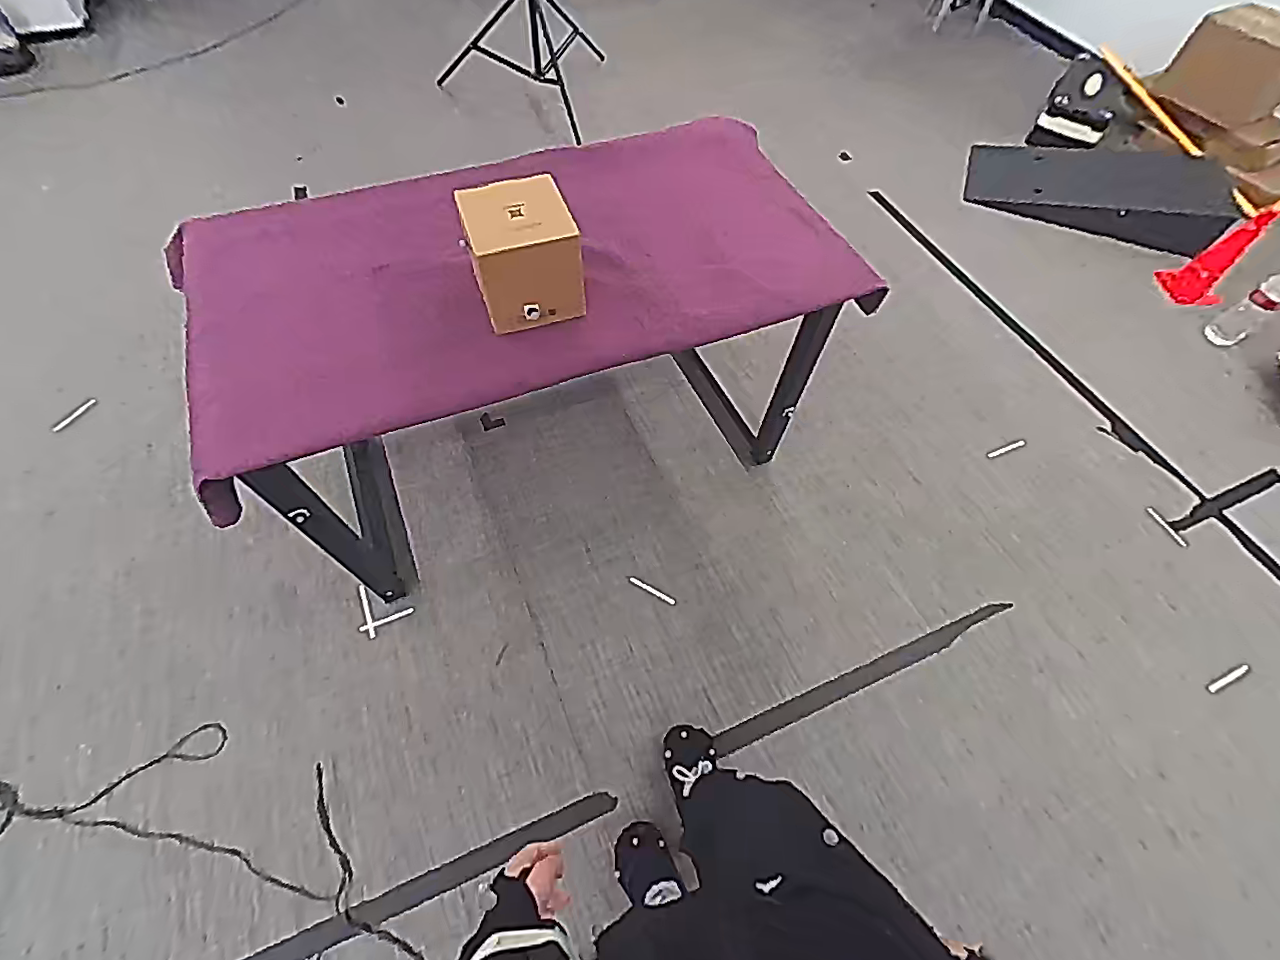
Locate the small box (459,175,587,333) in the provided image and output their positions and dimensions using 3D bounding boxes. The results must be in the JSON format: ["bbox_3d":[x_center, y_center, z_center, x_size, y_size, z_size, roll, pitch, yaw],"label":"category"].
[{"bbox_3d":[-0.196,-0.385,0.931,0.168,0.176,0.179,-18,63,-12],"label":"small box"}]
